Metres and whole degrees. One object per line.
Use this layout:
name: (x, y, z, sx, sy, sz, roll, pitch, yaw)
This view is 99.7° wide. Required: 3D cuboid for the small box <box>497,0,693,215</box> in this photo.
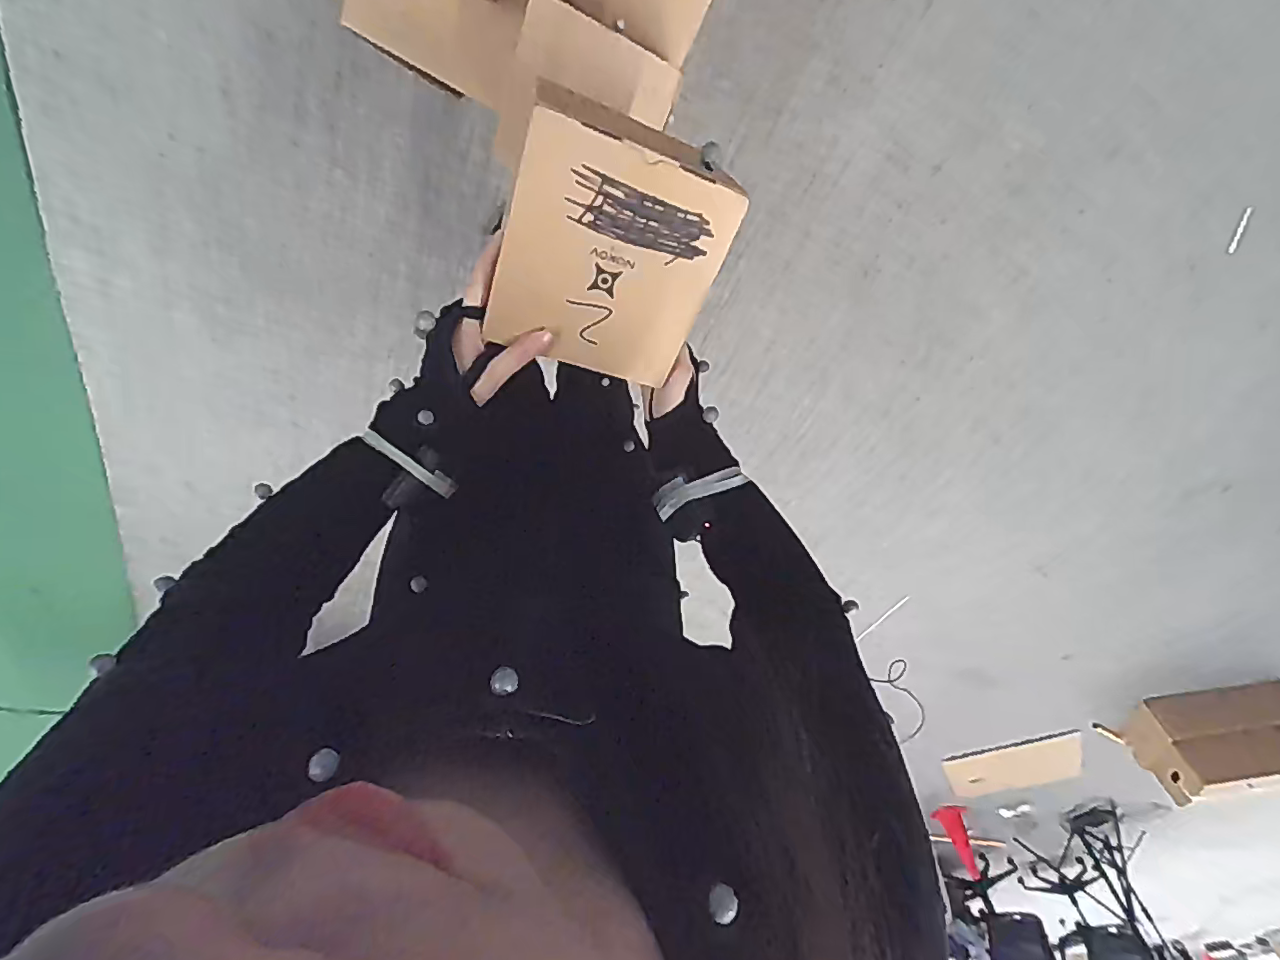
small box: (-0.058, -0.462, 0.662, 0.179, 0.176, 0.168, 17, 126, -18)
